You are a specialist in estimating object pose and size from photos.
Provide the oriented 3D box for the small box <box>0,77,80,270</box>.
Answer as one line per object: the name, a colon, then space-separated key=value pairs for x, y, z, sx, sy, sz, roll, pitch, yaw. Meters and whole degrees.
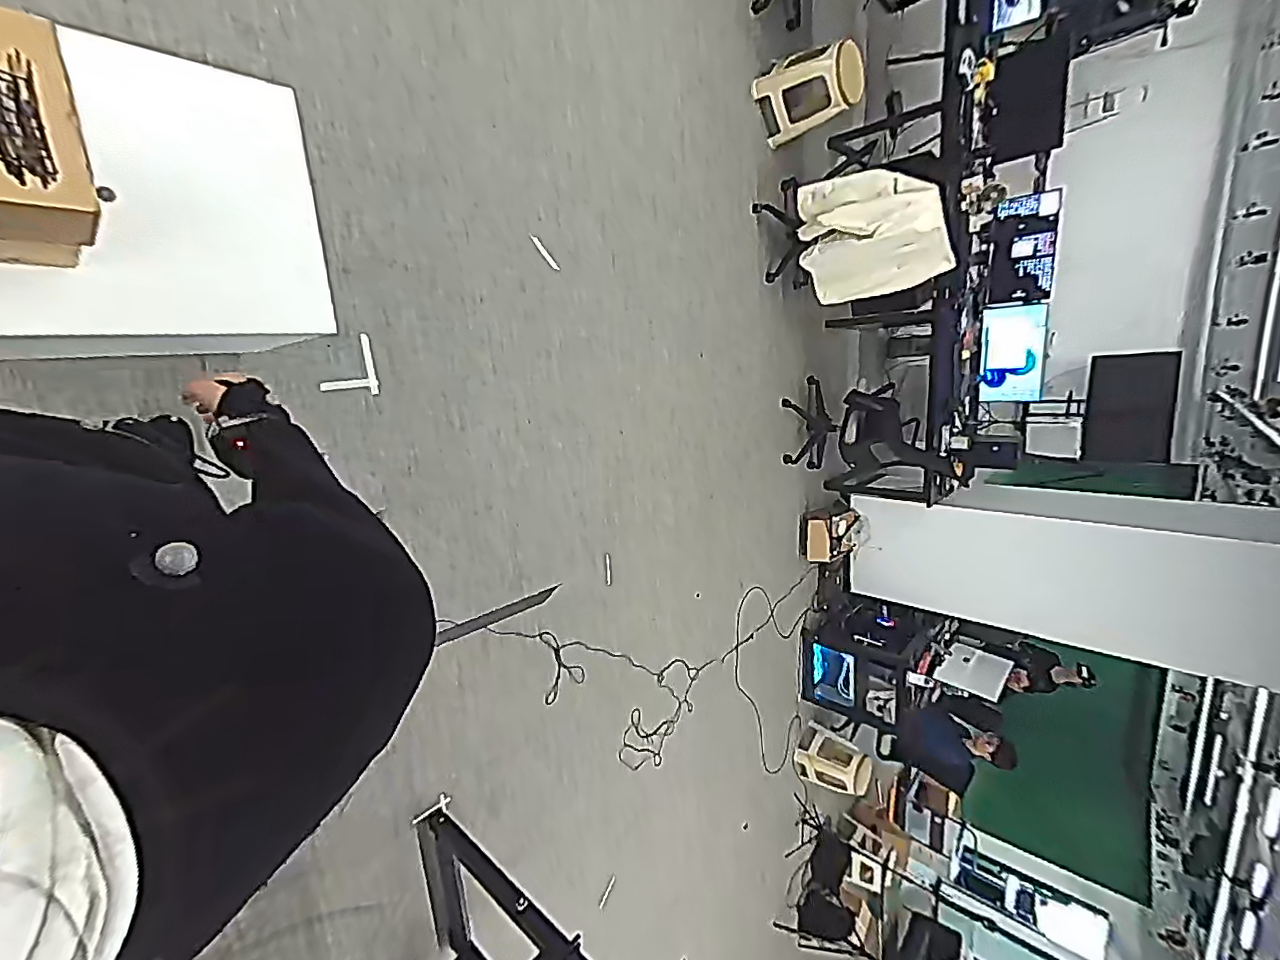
small box: x=-0.773 y=-0.345 z=0.614 sx=0.168 sy=0.176 sz=0.179 roll=-16 pitch=107 yaw=-46
